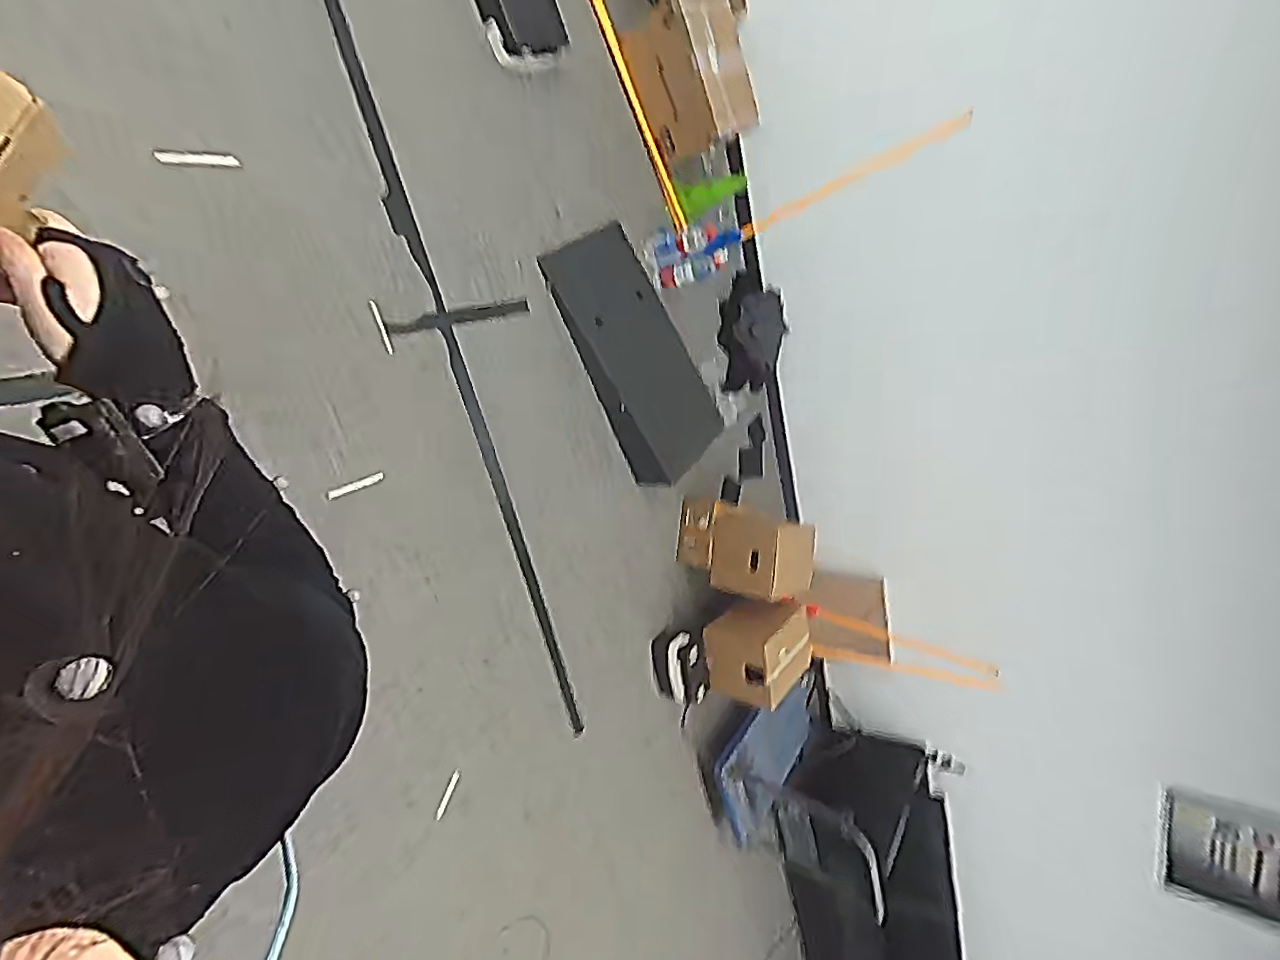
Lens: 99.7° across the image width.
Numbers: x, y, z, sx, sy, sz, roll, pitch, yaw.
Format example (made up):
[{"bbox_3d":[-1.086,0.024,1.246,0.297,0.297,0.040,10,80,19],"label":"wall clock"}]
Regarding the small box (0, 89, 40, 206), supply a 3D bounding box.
[{"bbox_3d":[-0.495,-0.206,0.299,0.179,0.176,0.168,36,80,-46],"label":"small box"}]
